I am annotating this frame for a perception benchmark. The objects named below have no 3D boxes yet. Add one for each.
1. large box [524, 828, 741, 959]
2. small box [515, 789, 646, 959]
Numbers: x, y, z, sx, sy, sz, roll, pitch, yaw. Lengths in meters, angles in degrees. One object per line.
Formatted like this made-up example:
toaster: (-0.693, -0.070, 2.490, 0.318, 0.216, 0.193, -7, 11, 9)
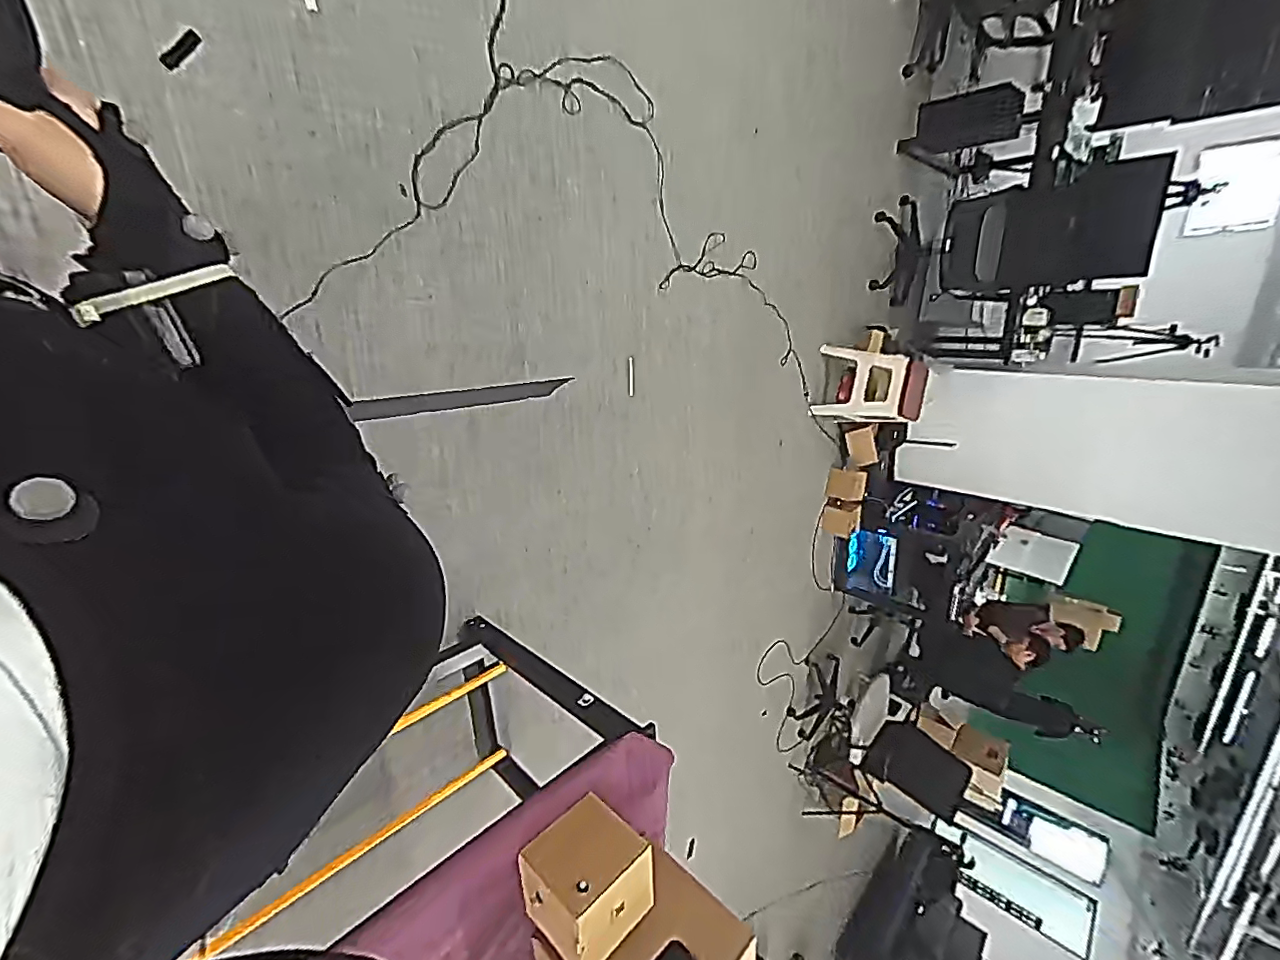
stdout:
large box: (-0.007, 1.045, 1.103, 0.320, 0.320, 0.408, -19, 113, -41)
small box: (-0.107, 0.726, 1.005, 0.179, 0.176, 0.168, -21, 118, -41)
